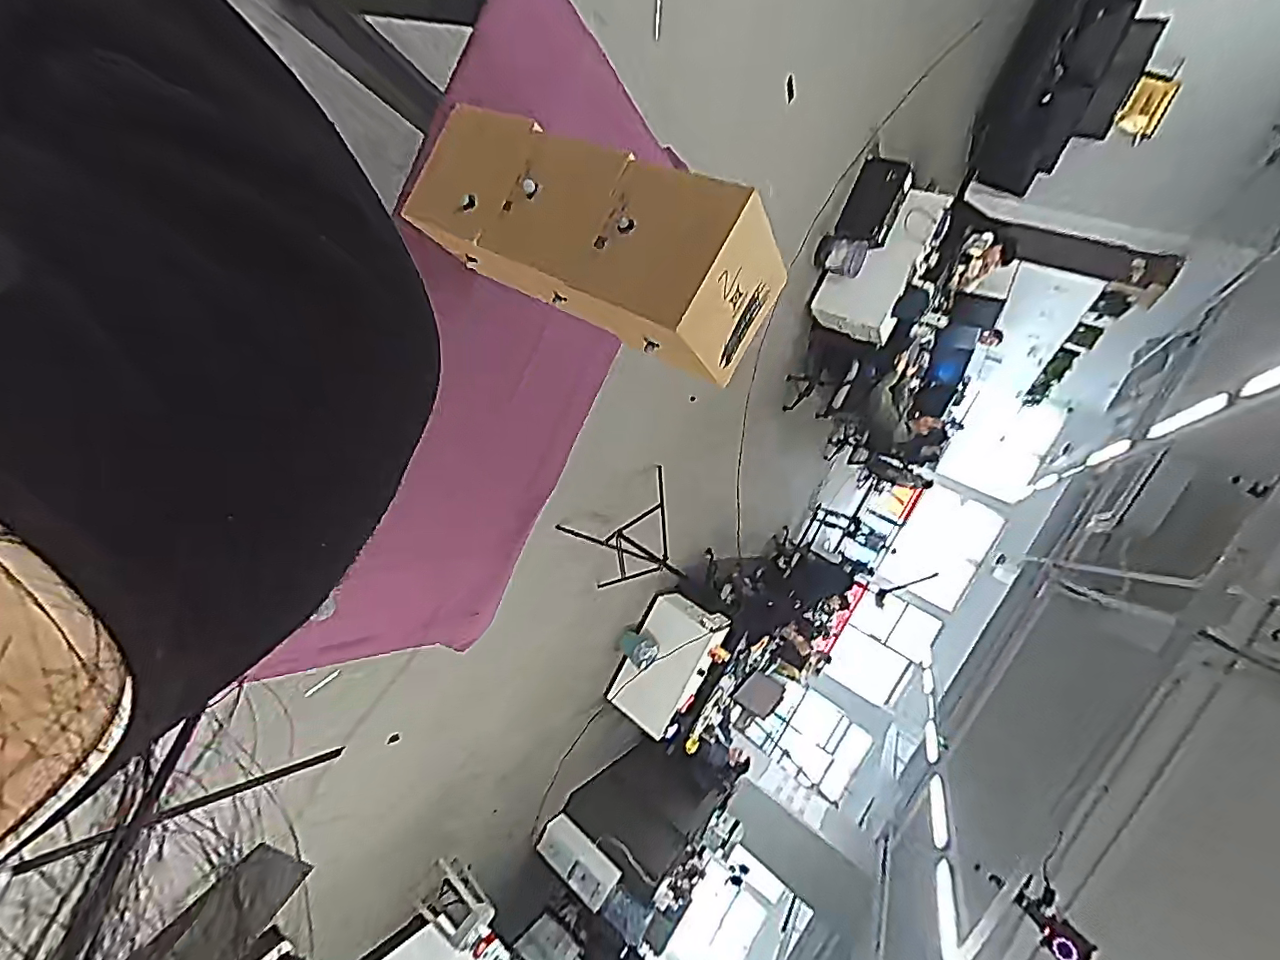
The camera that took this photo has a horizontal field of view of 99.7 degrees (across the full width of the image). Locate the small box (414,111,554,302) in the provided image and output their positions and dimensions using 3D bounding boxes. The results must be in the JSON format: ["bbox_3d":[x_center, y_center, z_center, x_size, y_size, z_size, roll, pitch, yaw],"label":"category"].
[{"bbox_3d":[-0.199,-0.399,0.796,0.179,0.176,0.168,-62,154,3],"label":"small box"}]

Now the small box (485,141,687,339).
[{"bbox_3d":[-0.070,-0.321,0.730,0.168,0.176,0.179,-62,152,4],"label":"small box"}]
